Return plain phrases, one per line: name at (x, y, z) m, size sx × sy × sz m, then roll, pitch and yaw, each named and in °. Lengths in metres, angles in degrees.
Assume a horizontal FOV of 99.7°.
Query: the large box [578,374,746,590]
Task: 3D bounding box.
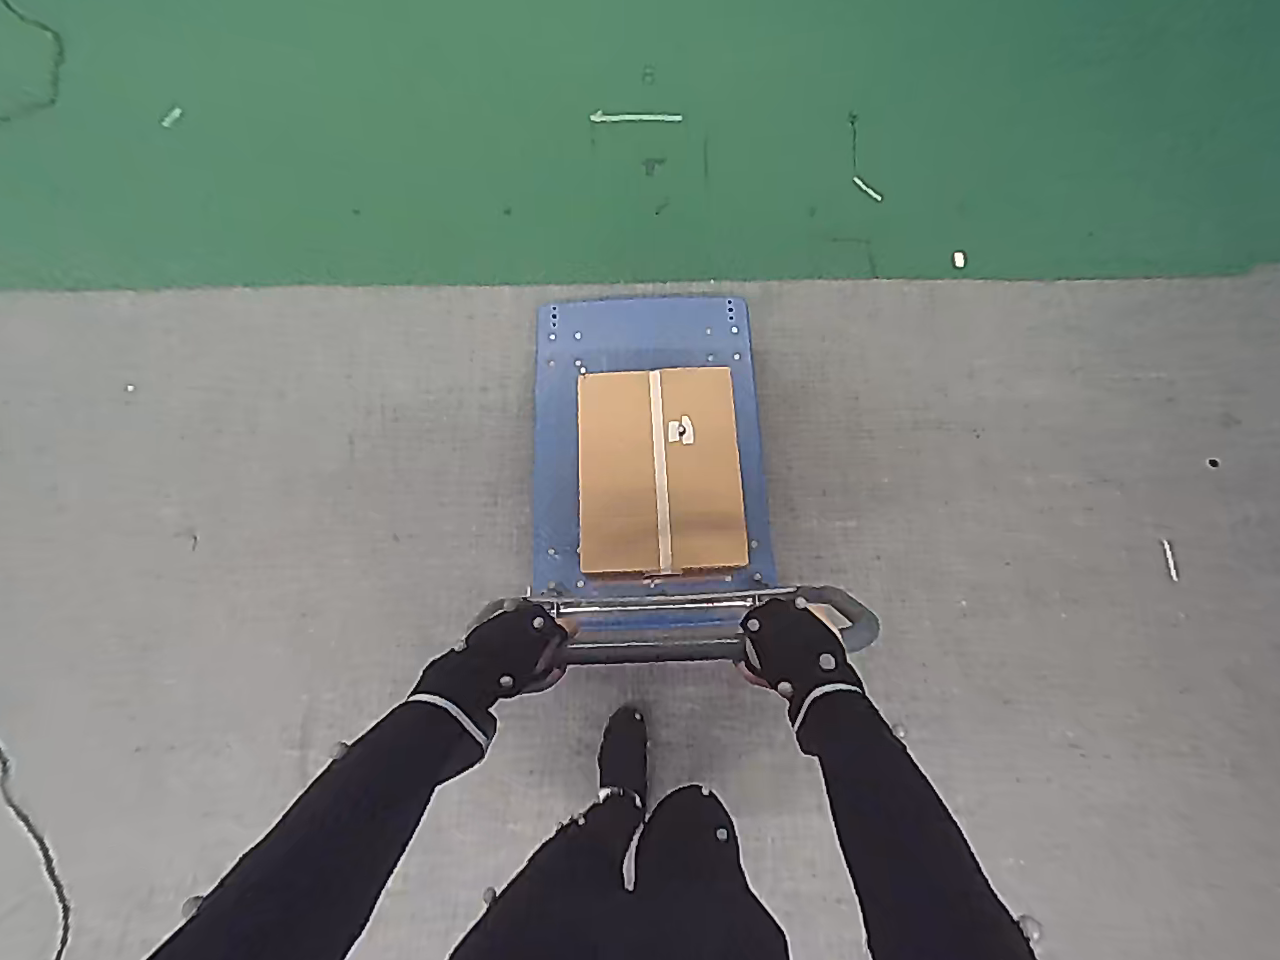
large box at (0.040, 0.022, 1.207) m, size 0.320 × 0.320 × 0.408 m, roll -3°, pitch 74°, yaw 0°
